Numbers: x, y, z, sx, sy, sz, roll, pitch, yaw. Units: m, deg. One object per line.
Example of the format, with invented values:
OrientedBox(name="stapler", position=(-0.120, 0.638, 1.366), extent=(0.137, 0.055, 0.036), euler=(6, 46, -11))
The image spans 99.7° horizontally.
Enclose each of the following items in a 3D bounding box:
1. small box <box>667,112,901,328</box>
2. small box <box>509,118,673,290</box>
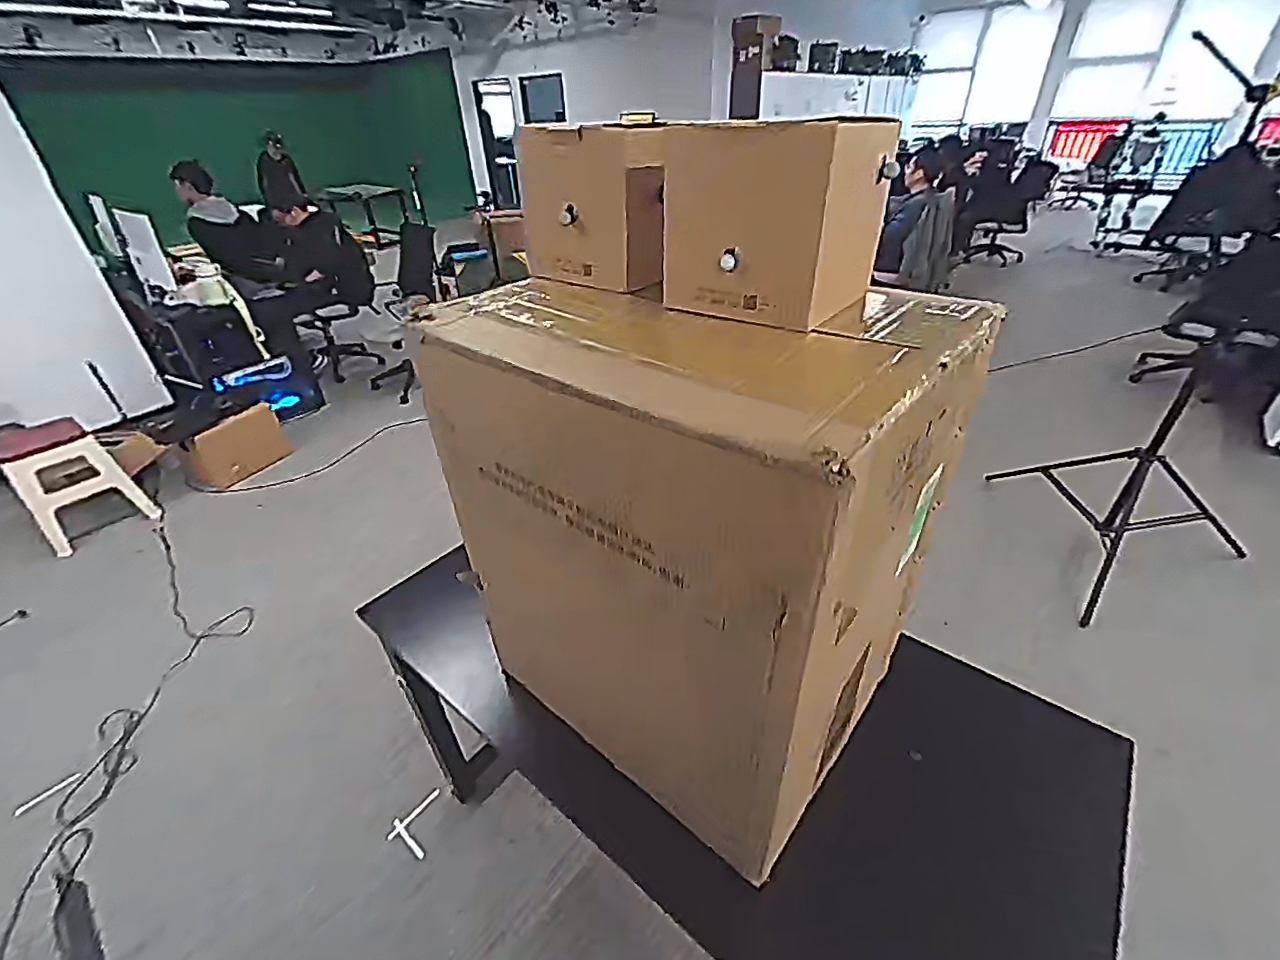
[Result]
OrientedBox(name="small box", position=(0.138, -0.268, 0.549), extent=(0.168, 0.176, 0.179), euler=(21, 39, 31))
OrientedBox(name="small box", position=(-0.033, -0.347, 0.677), extent=(0.168, 0.176, 0.179), euler=(21, 40, 29))
